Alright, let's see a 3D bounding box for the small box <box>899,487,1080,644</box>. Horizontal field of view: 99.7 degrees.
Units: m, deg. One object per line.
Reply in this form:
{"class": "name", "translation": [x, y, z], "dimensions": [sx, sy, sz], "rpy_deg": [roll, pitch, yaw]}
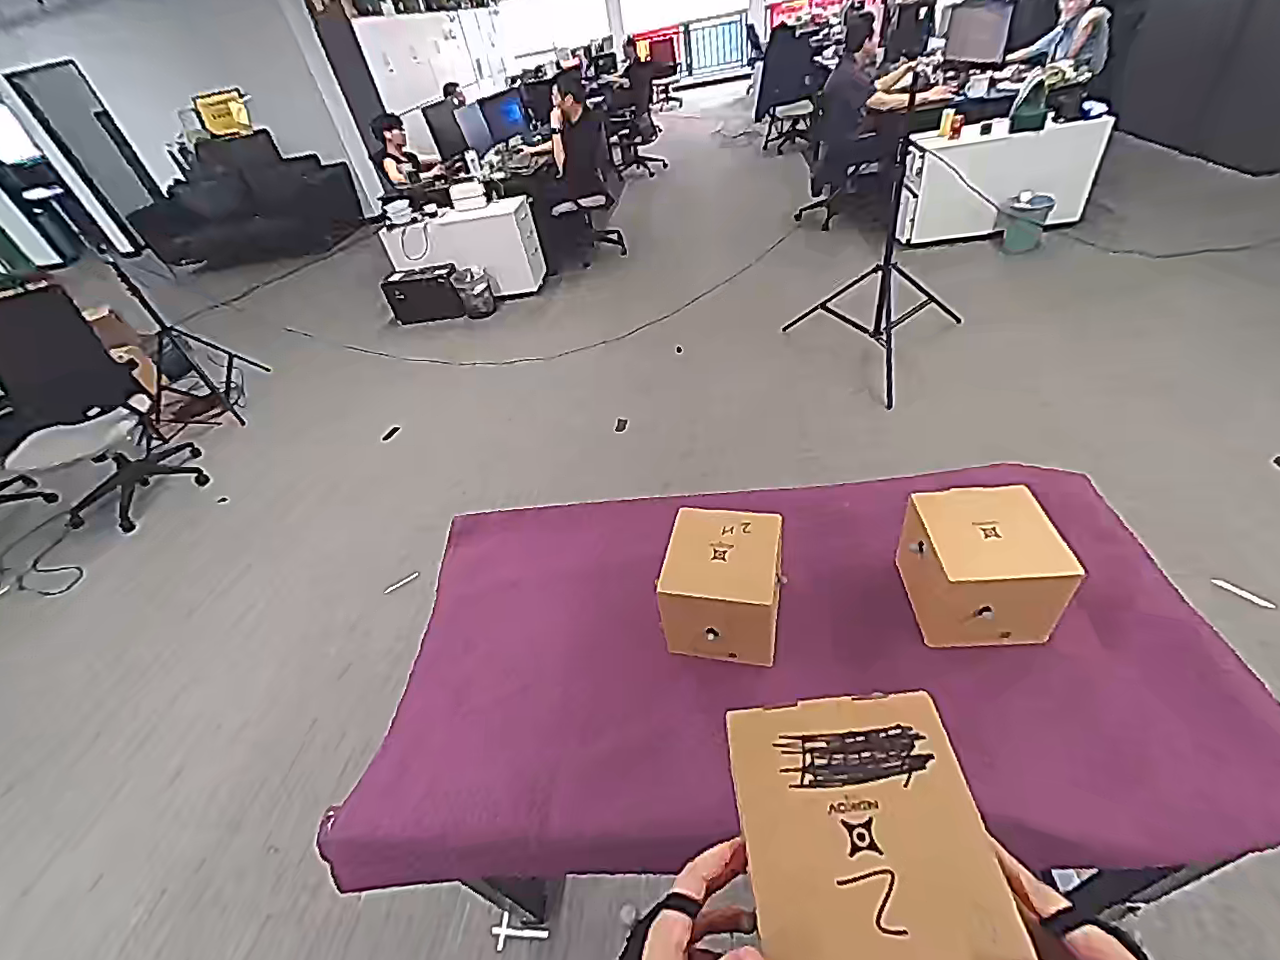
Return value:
{"class": "small box", "translation": [0.510, 0.134, 0.822], "dimensions": [0.168, 0.176, 0.179], "rpy_deg": [-5, 40, 10]}

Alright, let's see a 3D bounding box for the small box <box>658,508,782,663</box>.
{"class": "small box", "translation": [0.137, 0.169, 0.870], "dimensions": [0.168, 0.176, 0.179], "rpy_deg": [4, 43, 17]}
